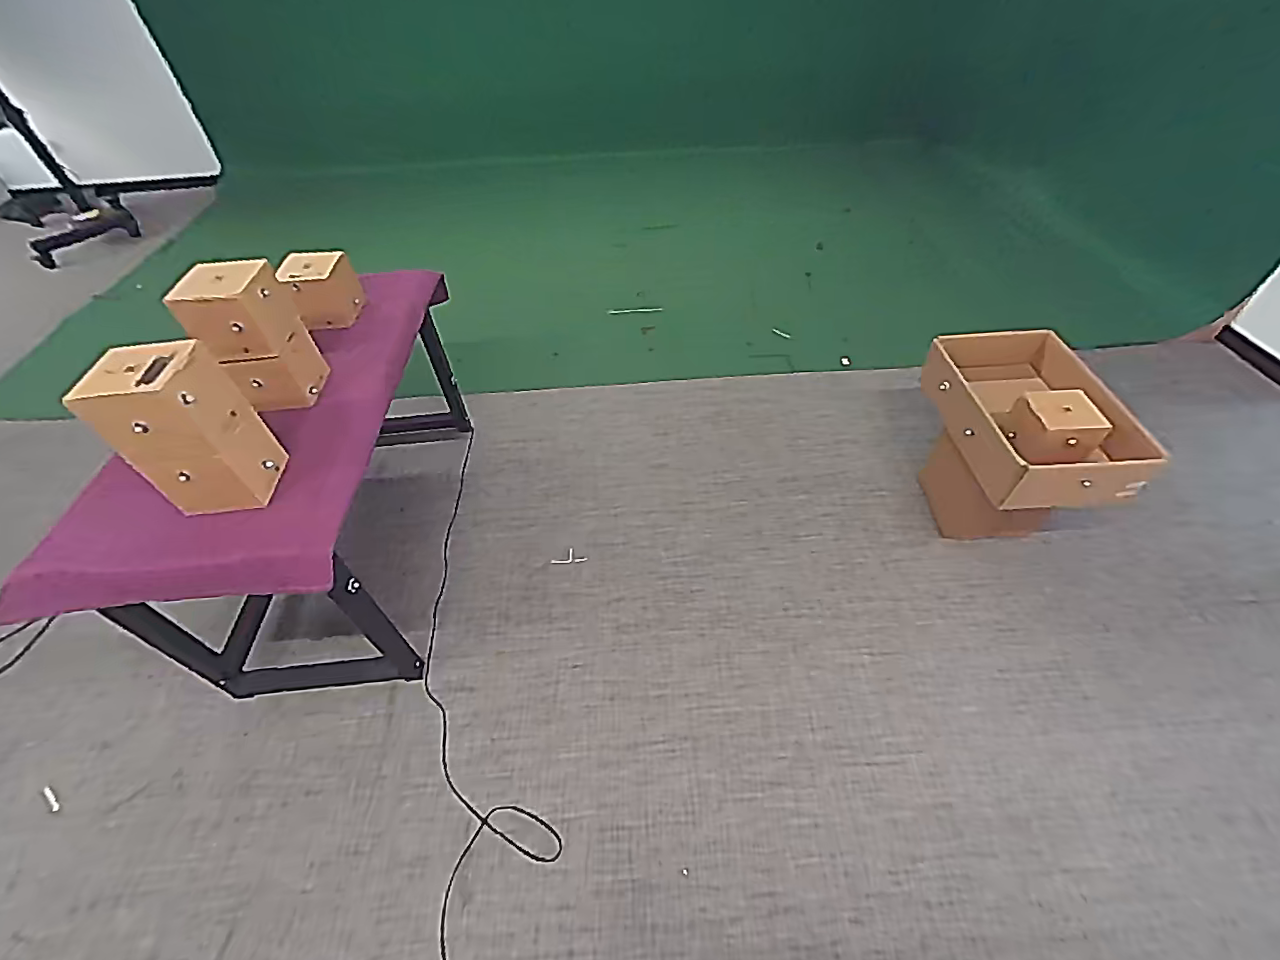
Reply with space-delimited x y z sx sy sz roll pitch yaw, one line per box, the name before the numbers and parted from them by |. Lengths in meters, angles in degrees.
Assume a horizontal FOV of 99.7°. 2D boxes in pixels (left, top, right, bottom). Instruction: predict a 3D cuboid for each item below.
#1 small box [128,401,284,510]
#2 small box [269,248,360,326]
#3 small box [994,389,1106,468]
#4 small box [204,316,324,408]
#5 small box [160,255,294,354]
small box | -0.933 -0.050 1.183 0.179 0.176 0.168 -6 49 -3
small box | -0.997 -0.596 1.674 0.168 0.176 0.179 -4 48 -1
small box | 1.200 -0.150 1.599 0.179 0.176 0.168 -2 49 1
small box | -0.968 -0.305 1.414 0.179 0.176 0.168 -6 48 -2
small box | -0.970 -0.414 1.293 0.168 0.176 0.179 -4 48 -3
